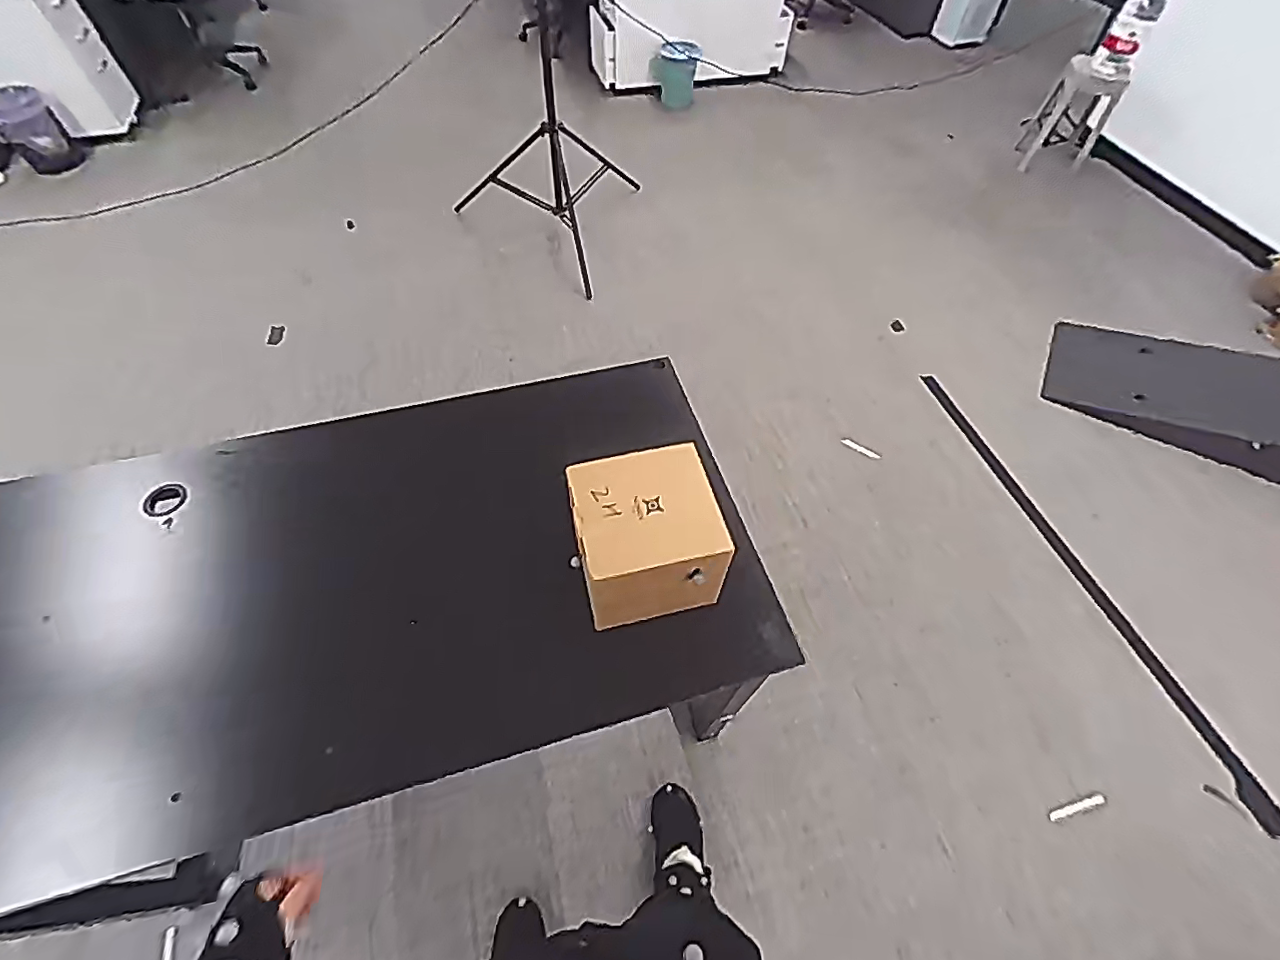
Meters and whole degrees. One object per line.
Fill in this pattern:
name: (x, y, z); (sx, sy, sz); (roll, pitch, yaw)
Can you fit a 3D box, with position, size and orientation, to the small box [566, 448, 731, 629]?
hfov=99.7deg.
small box: (0.004, 0.083, 0.732); (0.179, 0.176, 0.168); (-12, 56, -9)
